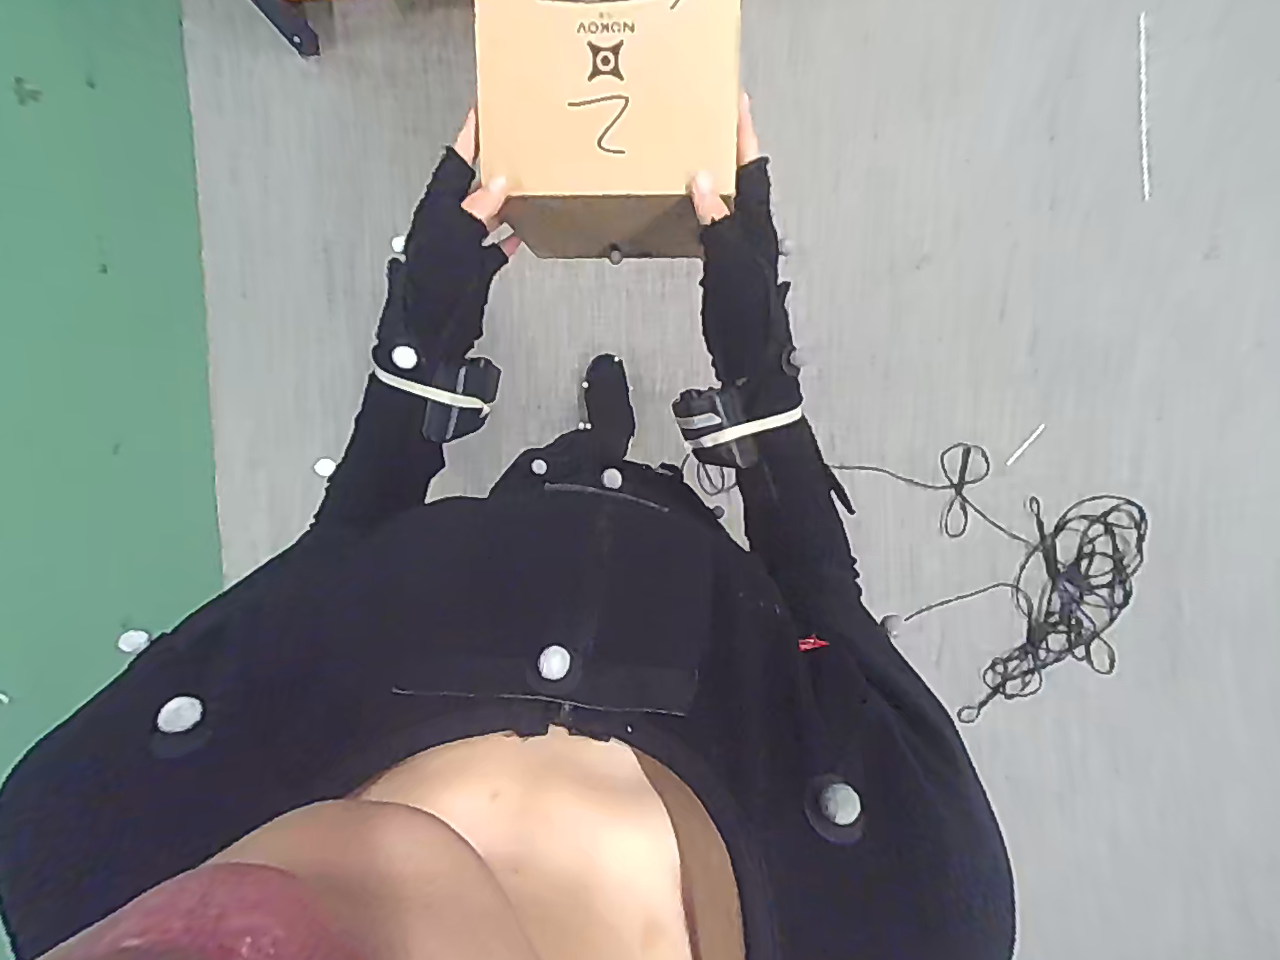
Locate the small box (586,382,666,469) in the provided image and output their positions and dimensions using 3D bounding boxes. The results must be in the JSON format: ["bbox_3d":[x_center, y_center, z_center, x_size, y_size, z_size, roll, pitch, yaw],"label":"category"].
[{"bbox_3d":[-0.044,-0.146,1.414,0.168,0.176,0.179,12,103,-13],"label":"small box"}]
